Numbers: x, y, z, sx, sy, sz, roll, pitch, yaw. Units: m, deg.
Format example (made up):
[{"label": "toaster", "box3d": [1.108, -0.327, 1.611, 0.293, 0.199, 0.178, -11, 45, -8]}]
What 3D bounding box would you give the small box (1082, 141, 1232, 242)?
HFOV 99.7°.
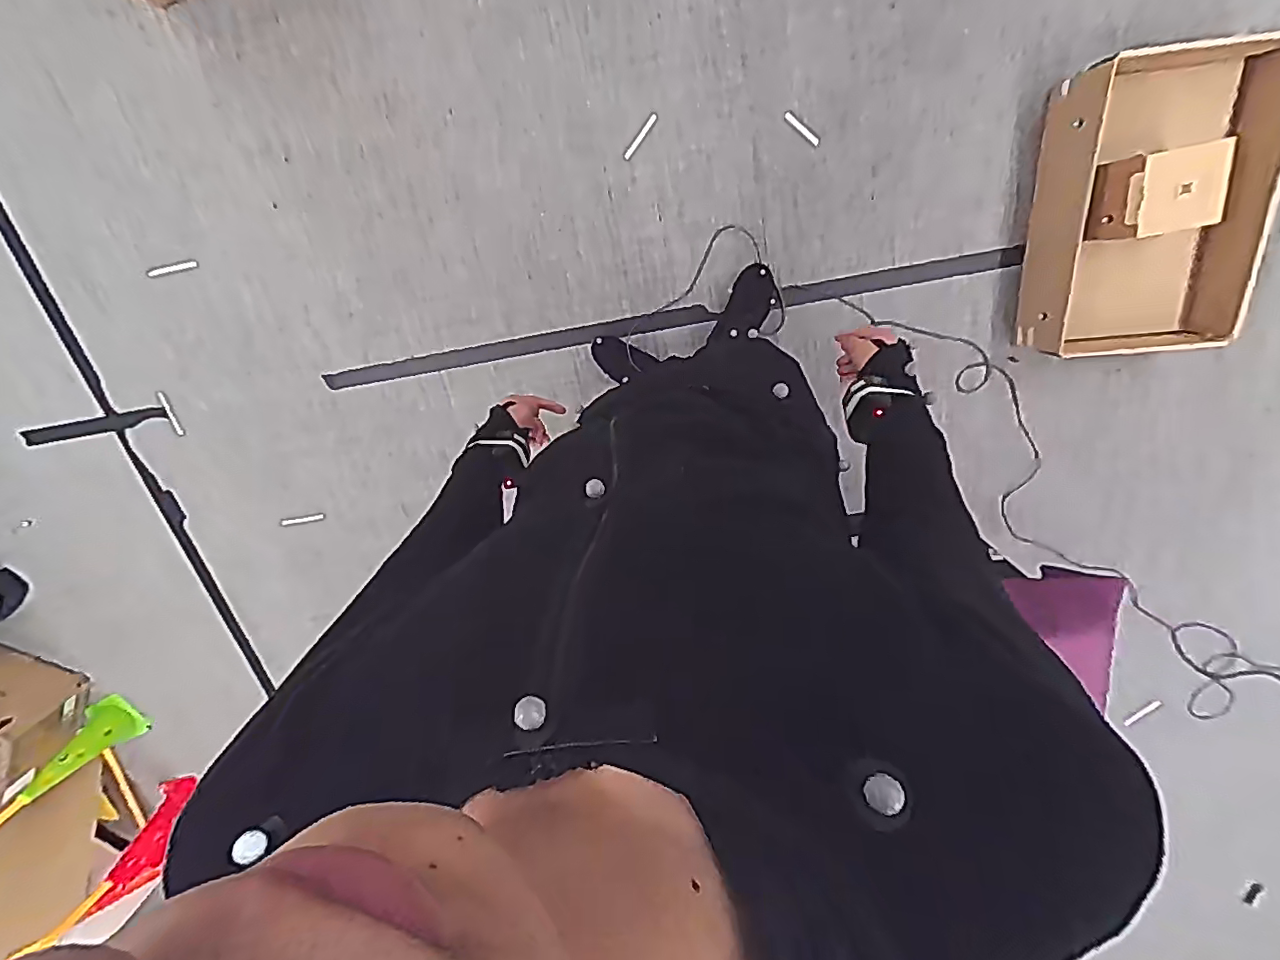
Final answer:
[{"label": "small box", "box3d": [1.155, -0.642, 1.225, 0.179, 0.176, 0.168, -9, 112, 6]}]
